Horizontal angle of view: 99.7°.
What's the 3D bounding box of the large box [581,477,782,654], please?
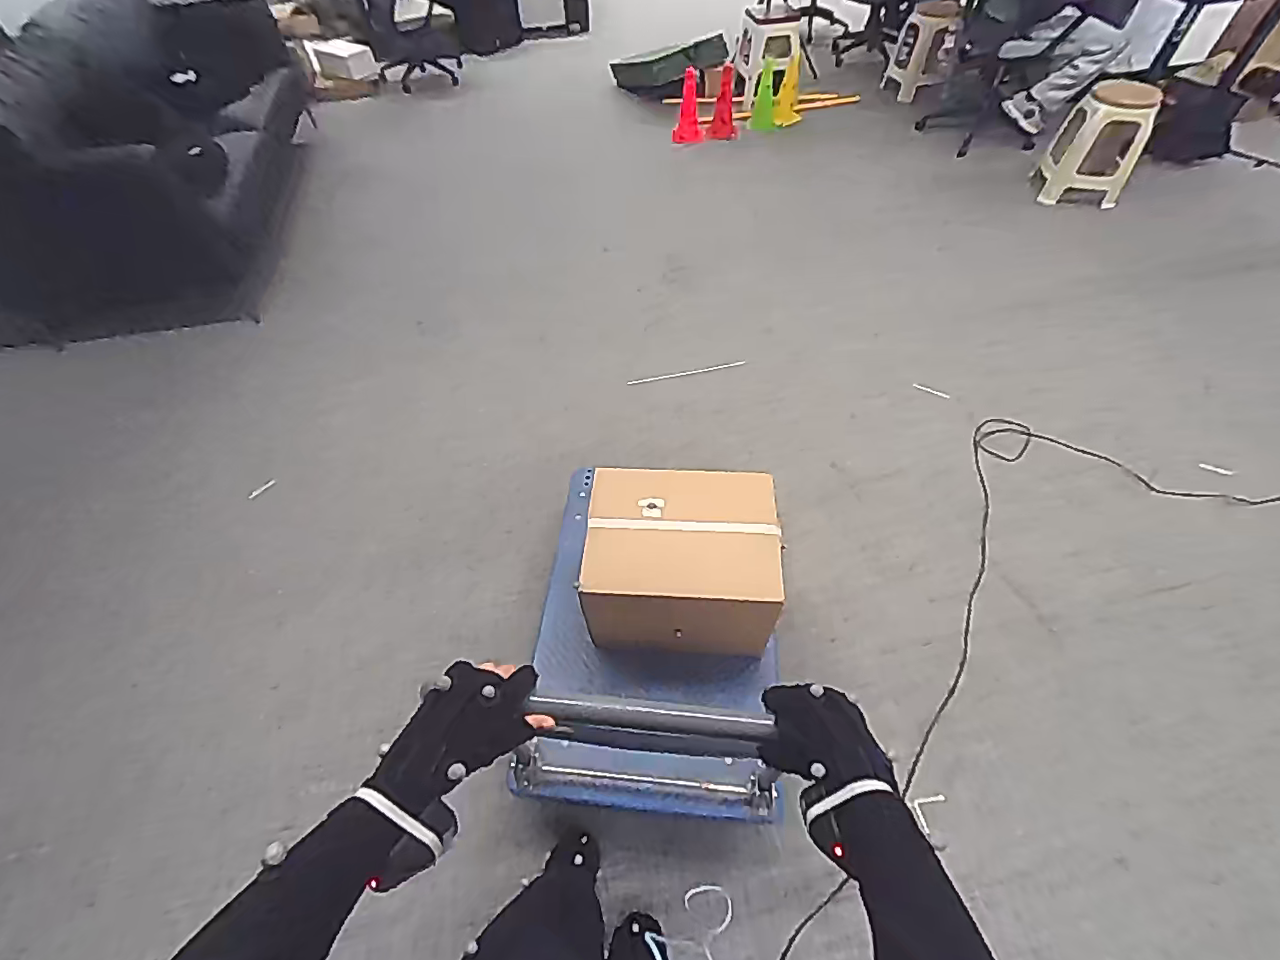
[{"bbox_3d":[0.097,0.206,1.270,0.408,0.320,0.320,1,52,5],"label":"large box"}]
